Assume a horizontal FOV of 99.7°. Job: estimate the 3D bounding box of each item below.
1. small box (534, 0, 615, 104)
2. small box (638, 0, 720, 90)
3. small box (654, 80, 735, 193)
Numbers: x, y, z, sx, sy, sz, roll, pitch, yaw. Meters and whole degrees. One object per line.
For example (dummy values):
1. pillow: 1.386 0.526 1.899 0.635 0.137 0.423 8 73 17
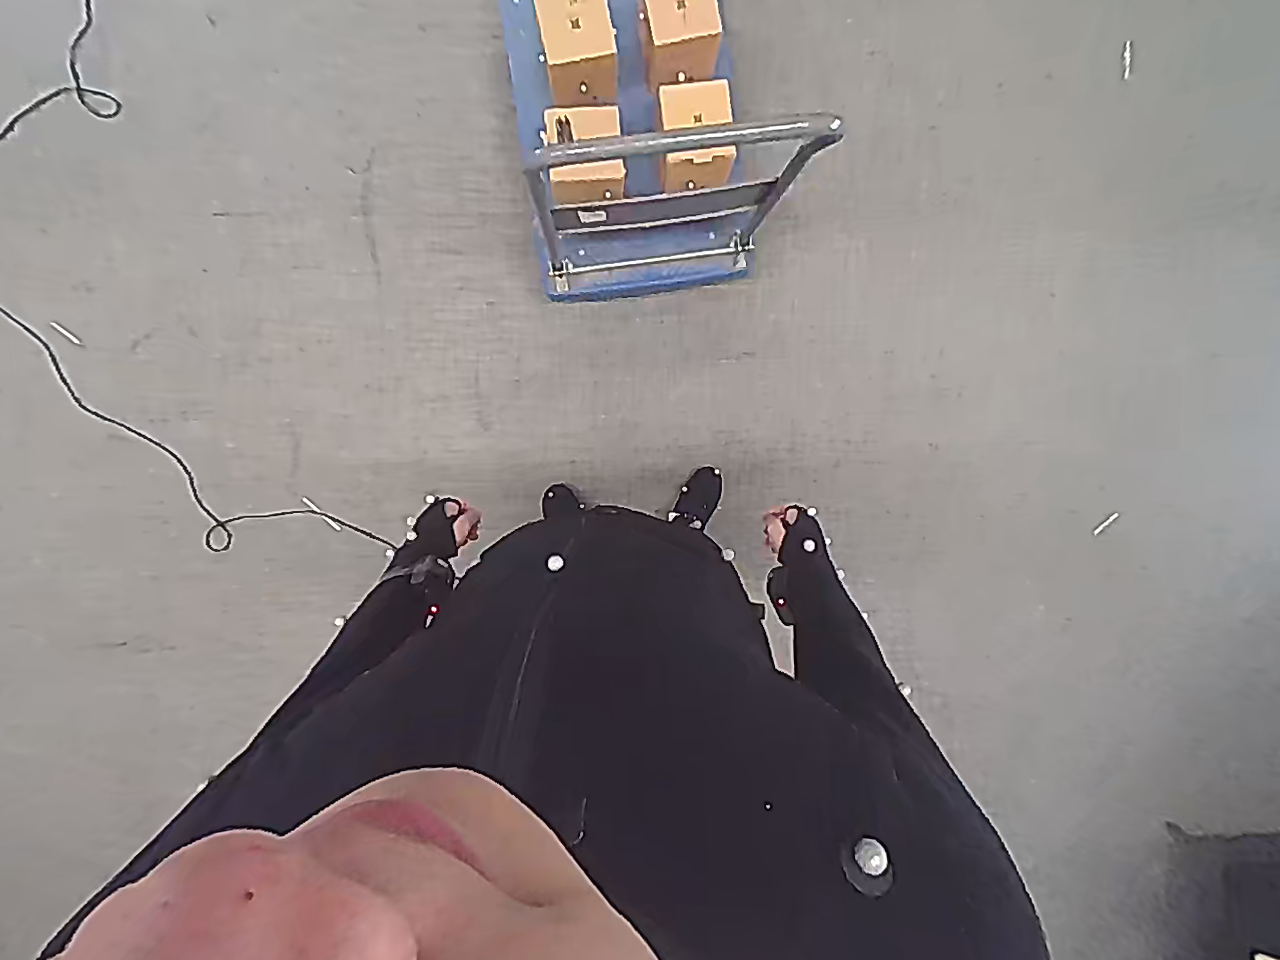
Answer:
1. small box: -0.156 -1.067 1.335 0.168 0.176 0.179 -12 93 -2
2. small box: 0.090 -1.123 1.341 0.168 0.176 0.179 -12 94 -1
3. small box: 0.131 -0.855 1.357 0.168 0.176 0.179 -8 94 -2
